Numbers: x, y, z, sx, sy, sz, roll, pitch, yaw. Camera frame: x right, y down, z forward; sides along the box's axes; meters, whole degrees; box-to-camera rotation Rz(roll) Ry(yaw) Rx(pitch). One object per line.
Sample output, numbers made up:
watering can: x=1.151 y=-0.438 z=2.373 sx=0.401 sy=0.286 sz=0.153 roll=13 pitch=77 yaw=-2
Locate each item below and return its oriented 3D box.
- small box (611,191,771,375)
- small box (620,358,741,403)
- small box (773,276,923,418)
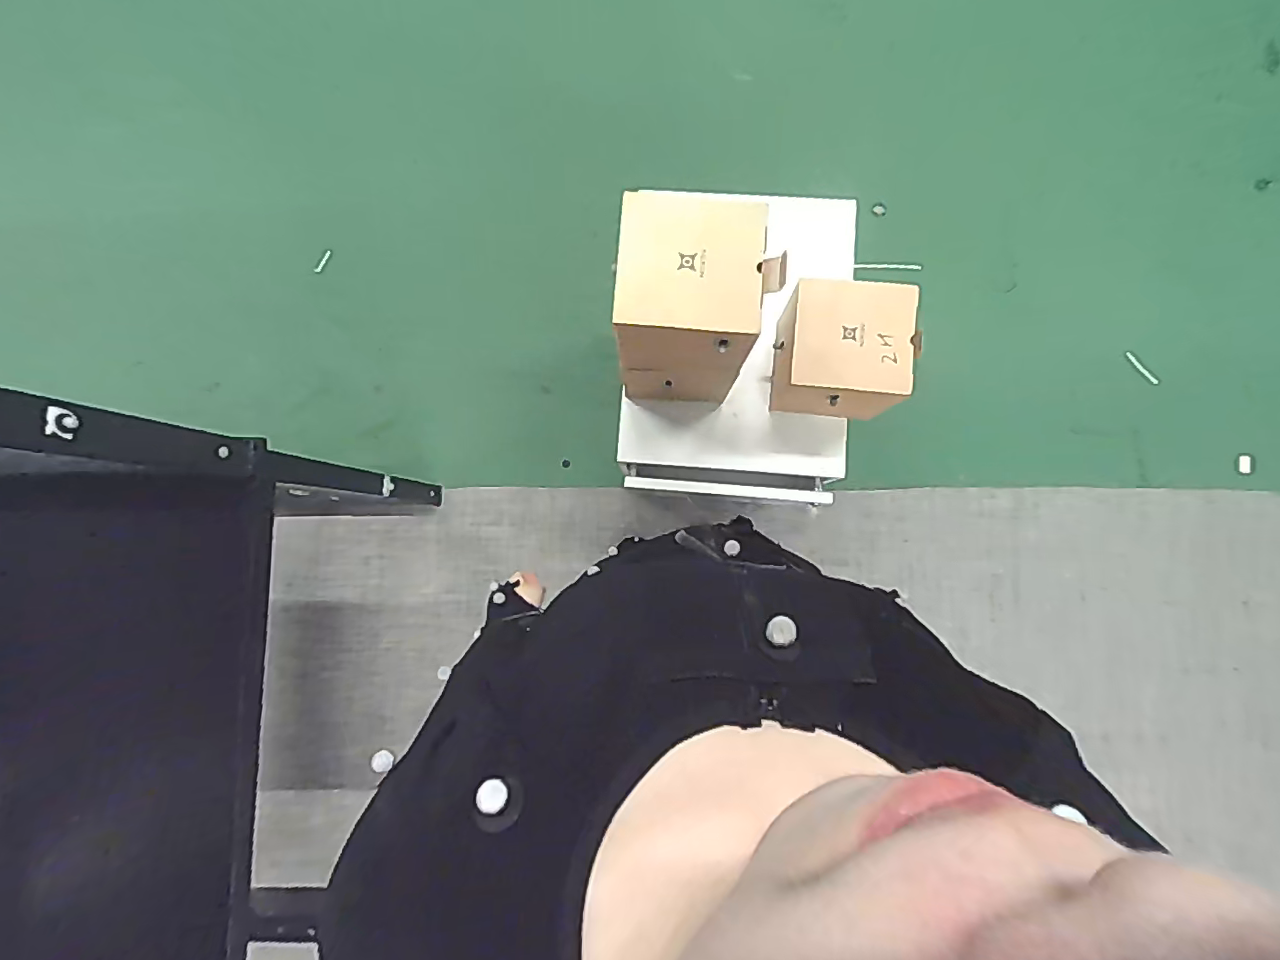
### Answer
small box: x=0.061 y=-0.242 z=0.701 sx=0.179 sy=0.176 sz=0.168 roll=4 pitch=84 yaw=1
small box: x=0.065 y=-0.224 z=0.863 sx=0.179 sy=0.176 sz=0.168 roll=3 pitch=84 yaw=2
small box: x=0.314 y=-0.199 z=0.849 sx=0.179 sy=0.176 sz=0.168 roll=6 pitch=85 yaw=3
